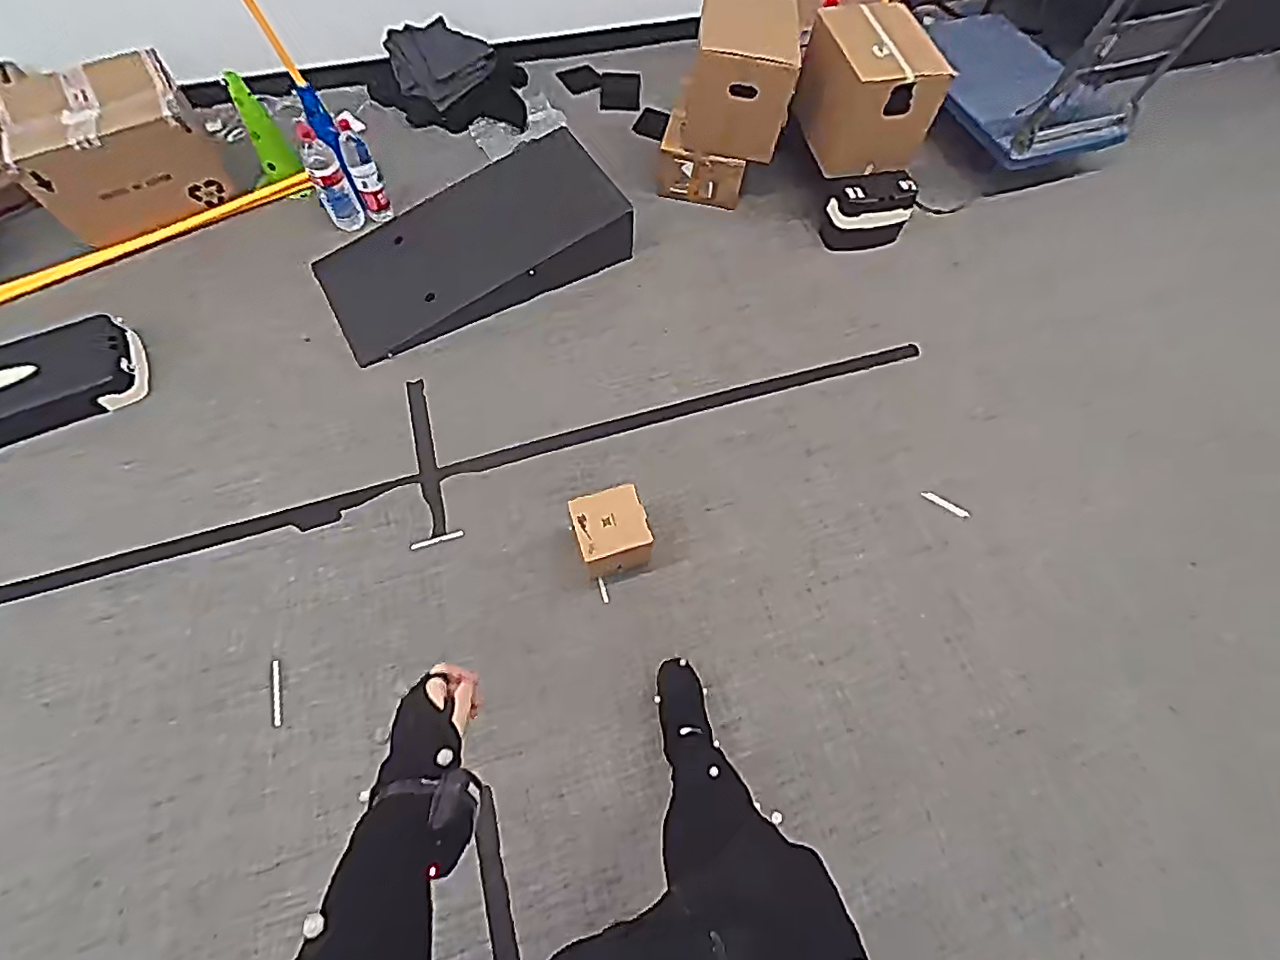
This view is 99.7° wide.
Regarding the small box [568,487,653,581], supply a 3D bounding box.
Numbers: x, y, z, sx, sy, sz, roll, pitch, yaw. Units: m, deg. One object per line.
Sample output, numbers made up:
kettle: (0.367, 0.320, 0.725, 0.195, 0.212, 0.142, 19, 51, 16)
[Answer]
small box: (-0.078, 0.142, 1.383, 0.179, 0.176, 0.168, -15, 66, -11)
